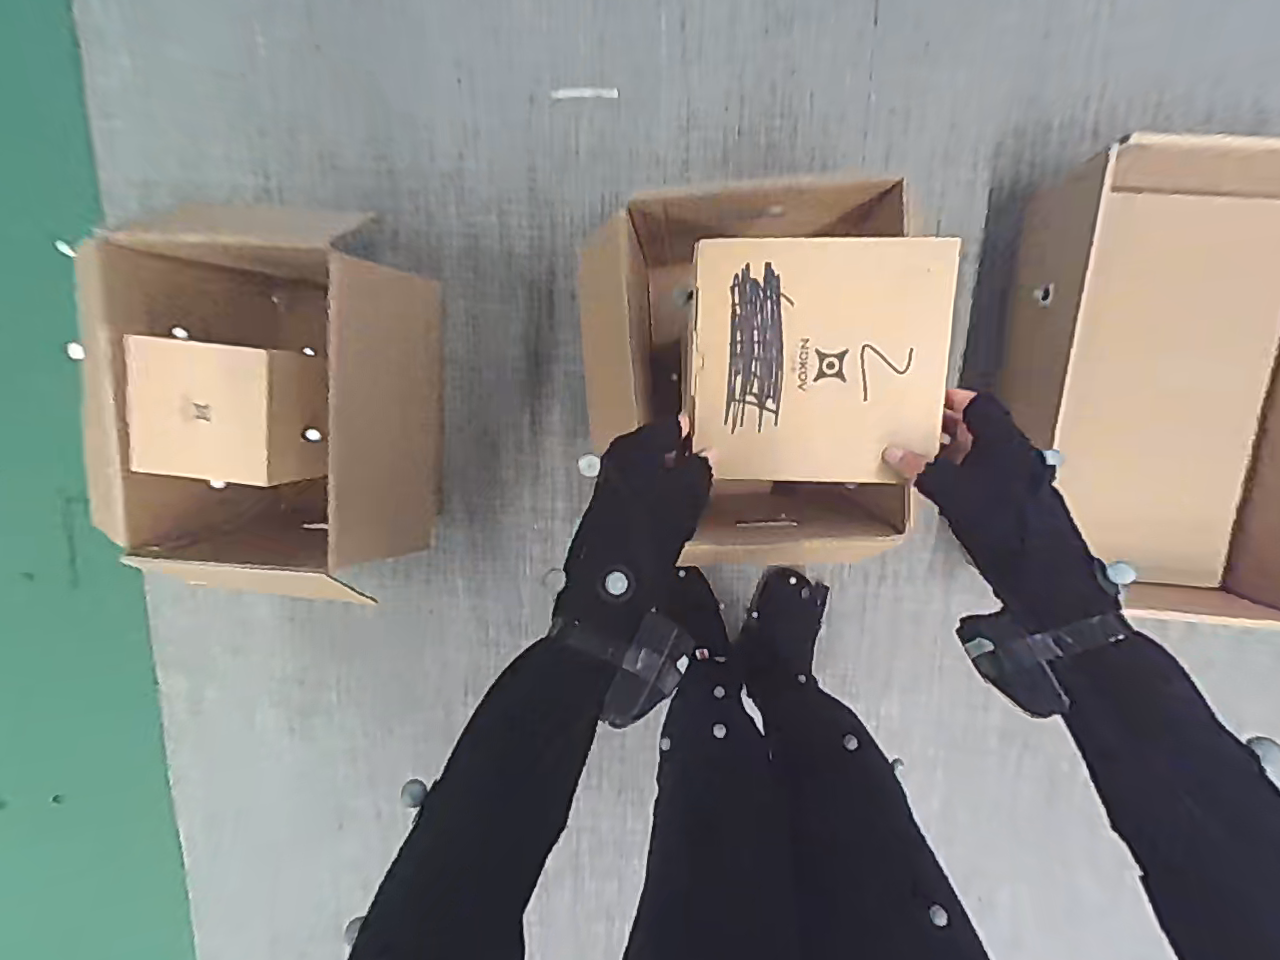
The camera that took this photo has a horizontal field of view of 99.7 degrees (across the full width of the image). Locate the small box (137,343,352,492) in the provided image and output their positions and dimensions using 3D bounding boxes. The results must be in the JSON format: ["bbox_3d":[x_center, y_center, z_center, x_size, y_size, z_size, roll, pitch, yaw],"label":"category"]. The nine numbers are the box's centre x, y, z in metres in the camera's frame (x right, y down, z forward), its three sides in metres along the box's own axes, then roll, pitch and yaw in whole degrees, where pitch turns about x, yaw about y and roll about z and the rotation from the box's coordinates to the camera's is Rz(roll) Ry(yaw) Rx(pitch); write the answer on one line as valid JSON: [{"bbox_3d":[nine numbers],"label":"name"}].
[{"bbox_3d":[-0.519,-0.086,0.733,0.179,0.176,0.168,6,98,3],"label":"small box"}]
